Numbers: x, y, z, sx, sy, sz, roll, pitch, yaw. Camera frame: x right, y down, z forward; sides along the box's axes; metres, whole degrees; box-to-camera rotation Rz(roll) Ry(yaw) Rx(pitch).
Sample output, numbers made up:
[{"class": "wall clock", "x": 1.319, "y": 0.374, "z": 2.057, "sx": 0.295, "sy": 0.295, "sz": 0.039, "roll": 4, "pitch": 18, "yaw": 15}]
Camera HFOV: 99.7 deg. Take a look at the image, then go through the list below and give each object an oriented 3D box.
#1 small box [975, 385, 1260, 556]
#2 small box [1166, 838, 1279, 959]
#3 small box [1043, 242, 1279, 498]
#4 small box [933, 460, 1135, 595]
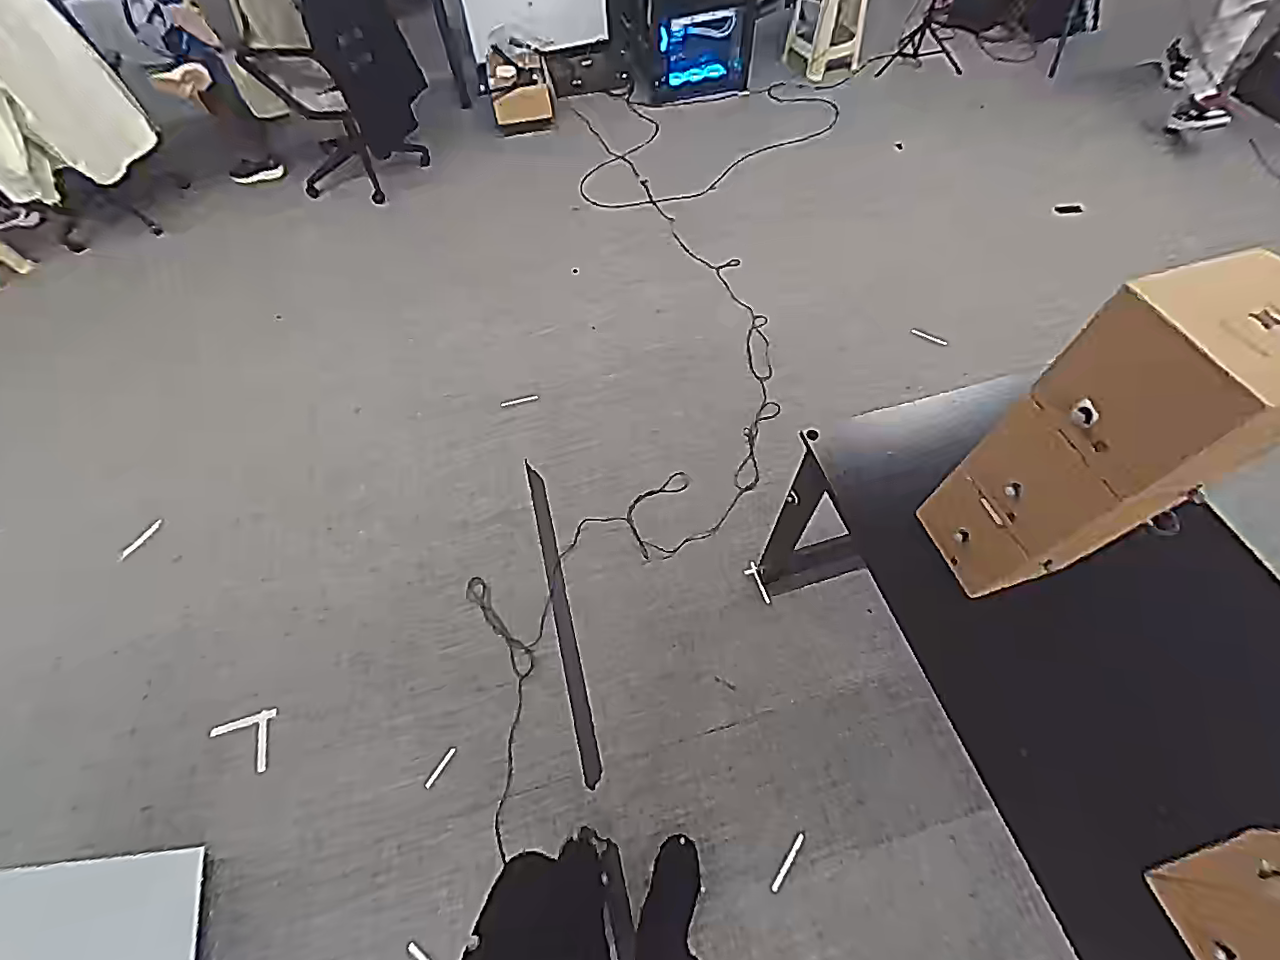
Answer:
[{"class": "small box", "x": 0.585, "y": -0.024, "z": 0.694, "sx": 0.179, "sy": 0.176, "sz": 0.168, "roll": -16, "pitch": 60, "yaw": -7}, {"class": "small box", "x": 0.743, "y": 0.501, "z": 0.572, "sx": 0.179, "sy": 0.176, "sz": 0.168, "roll": -15, "pitch": 60, "yaw": -6}, {"class": "small box", "x": 0.578, "y": -0.105, "z": 0.553, "sx": 0.179, "sy": 0.176, "sz": 0.168, "roll": -16, "pitch": 59, "yaw": -7}, {"class": "small box", "x": 0.589, "y": 0.060, "z": 0.836, "sx": 0.179, "sy": 0.176, "sz": 0.168, "roll": -17, "pitch": 61, "yaw": -7}]
